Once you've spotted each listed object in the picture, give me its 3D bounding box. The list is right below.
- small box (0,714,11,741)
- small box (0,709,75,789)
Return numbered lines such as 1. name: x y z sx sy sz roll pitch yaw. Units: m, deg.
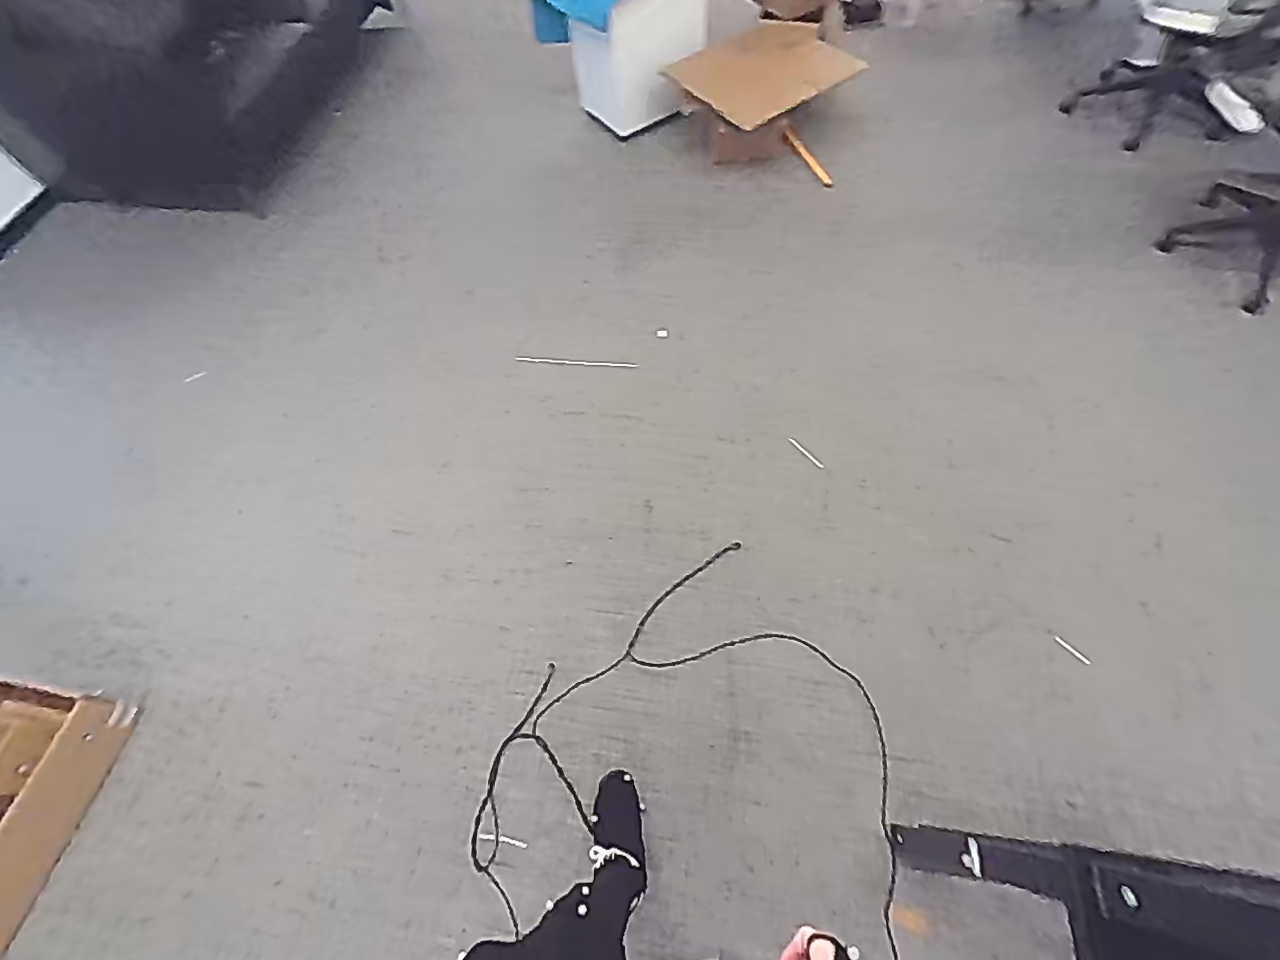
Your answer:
1. small box: -1.675 0.618 1.263 0.179 0.176 0.168 10 64 9
2. small box: -1.659 0.696 1.407 0.179 0.176 0.168 7 62 9
